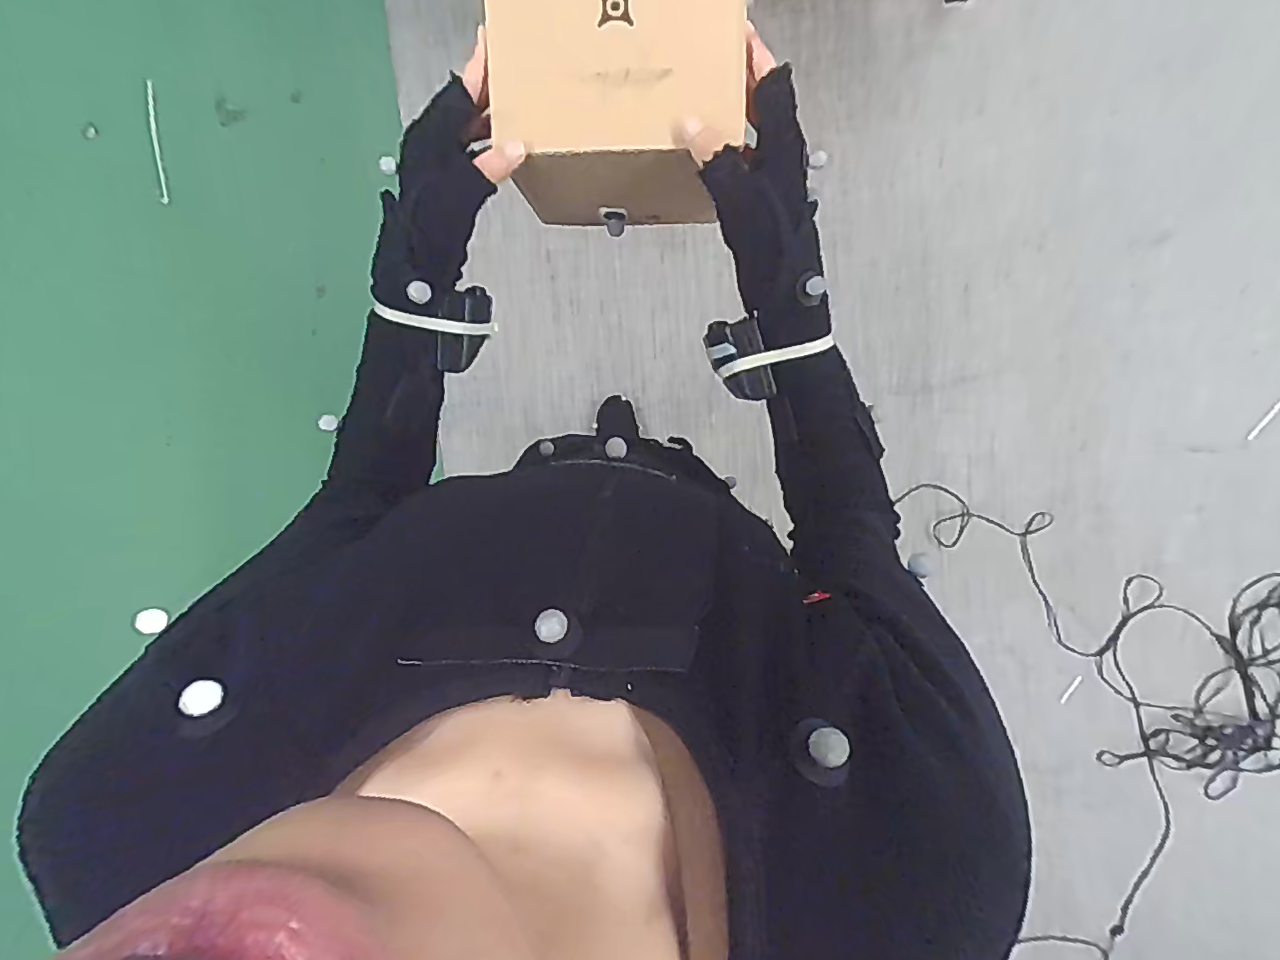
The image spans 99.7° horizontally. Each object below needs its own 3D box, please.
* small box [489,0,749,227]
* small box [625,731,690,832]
[{"bbox_3d":[-0.012,-0.312,0.416,0.168,0.176,0.179,0,100,2],"label":"small box"},{"bbox_3d":[0.046,0.808,1.459,0.168,0.176,0.179,1,94,1],"label":"small box"}]
